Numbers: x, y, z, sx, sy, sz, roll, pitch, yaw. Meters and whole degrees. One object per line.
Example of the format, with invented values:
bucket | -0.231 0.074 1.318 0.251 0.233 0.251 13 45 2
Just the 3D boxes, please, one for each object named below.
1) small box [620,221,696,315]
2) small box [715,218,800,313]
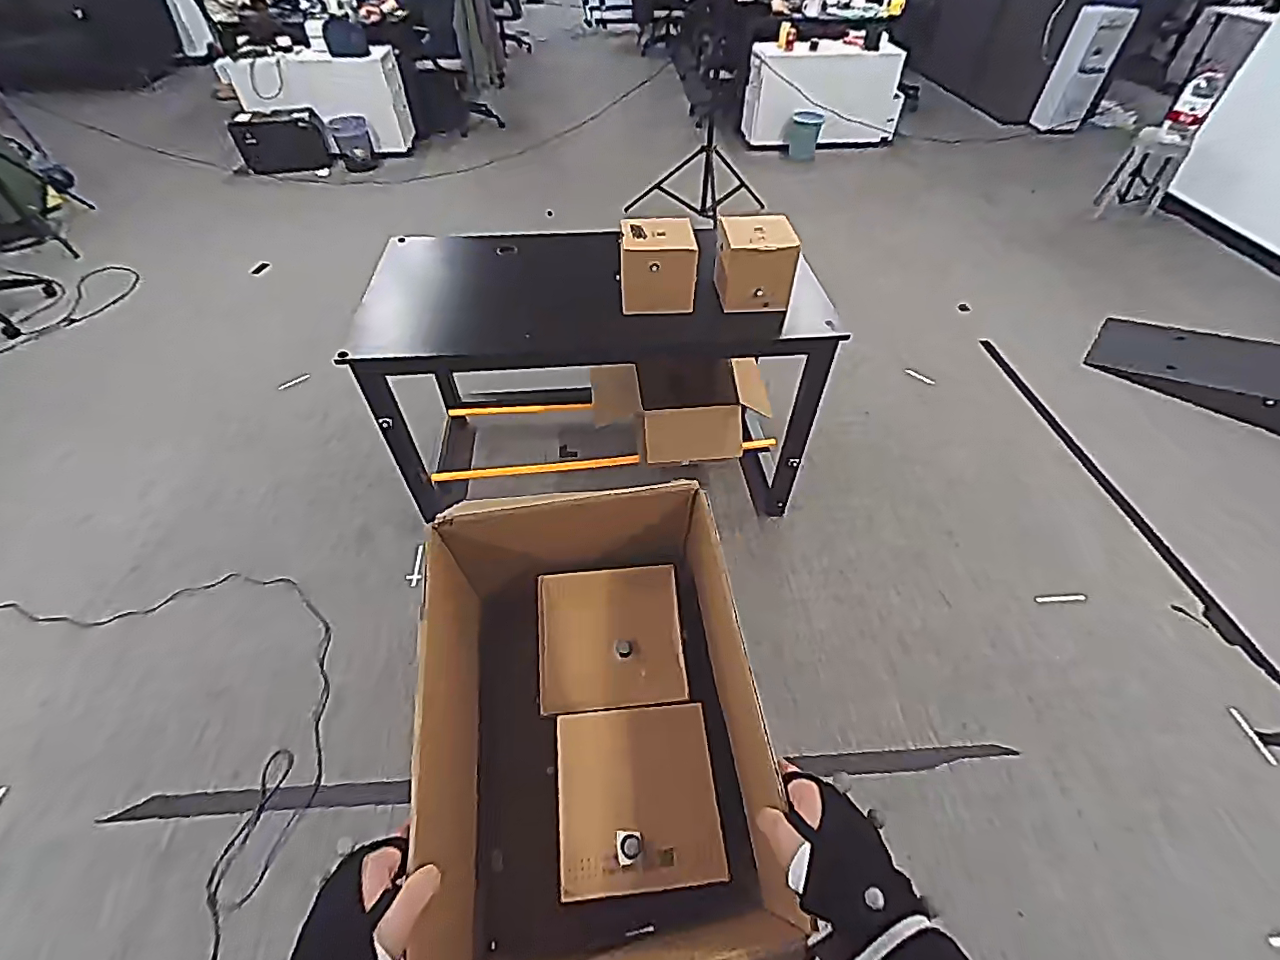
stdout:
small box | 0.041 -0.525 1.349 0.179 0.176 0.168 -2 48 -3
small box | 0.286 -0.537 1.358 0.168 0.176 0.179 -3 48 -2
